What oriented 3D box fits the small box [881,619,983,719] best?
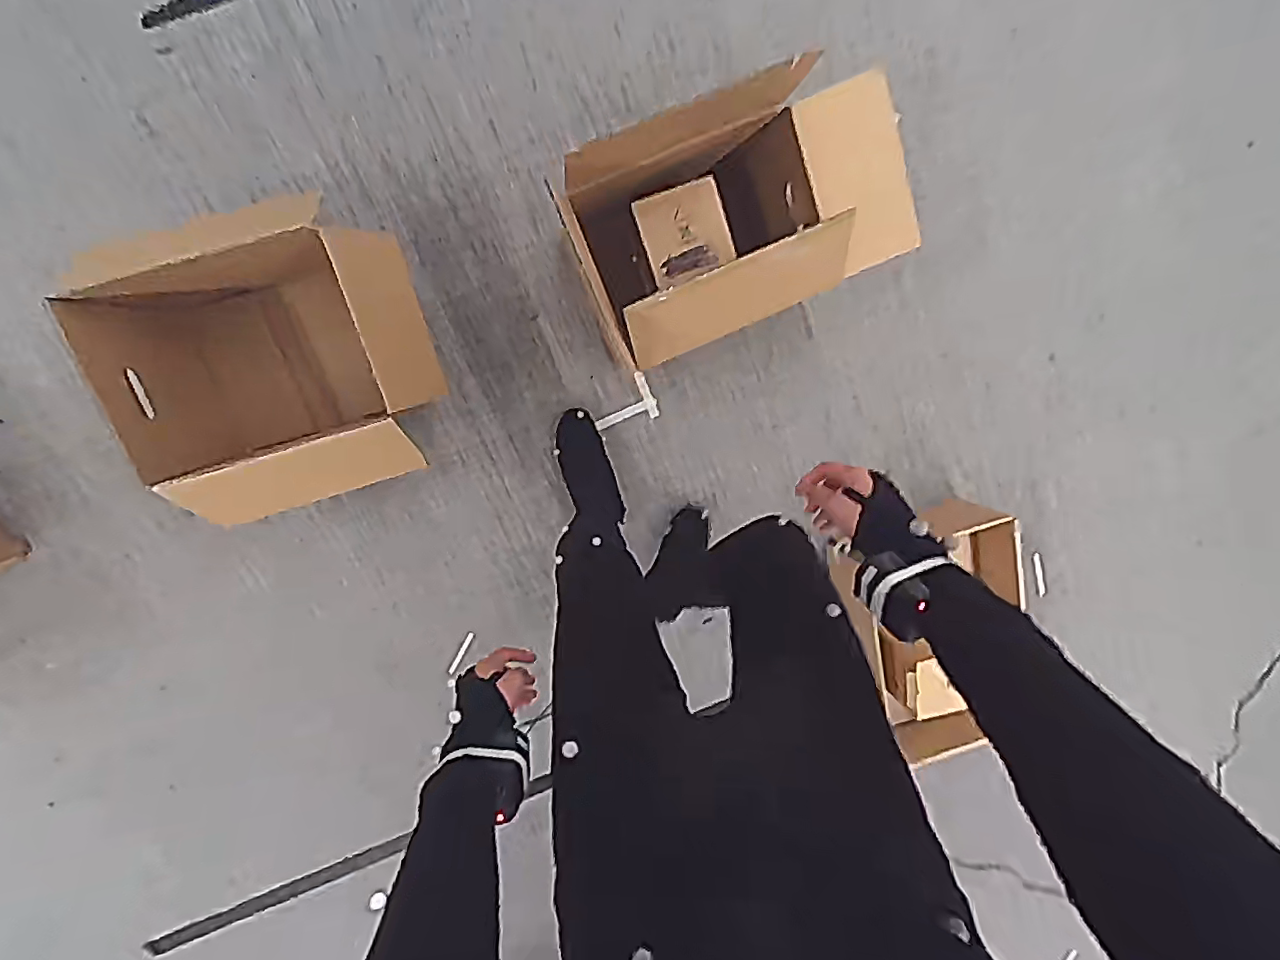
[{"bbox_3d":[0.742,0.479,1.392,0.179,0.176,0.168,-9,104,-7],"label":"small box"}]
